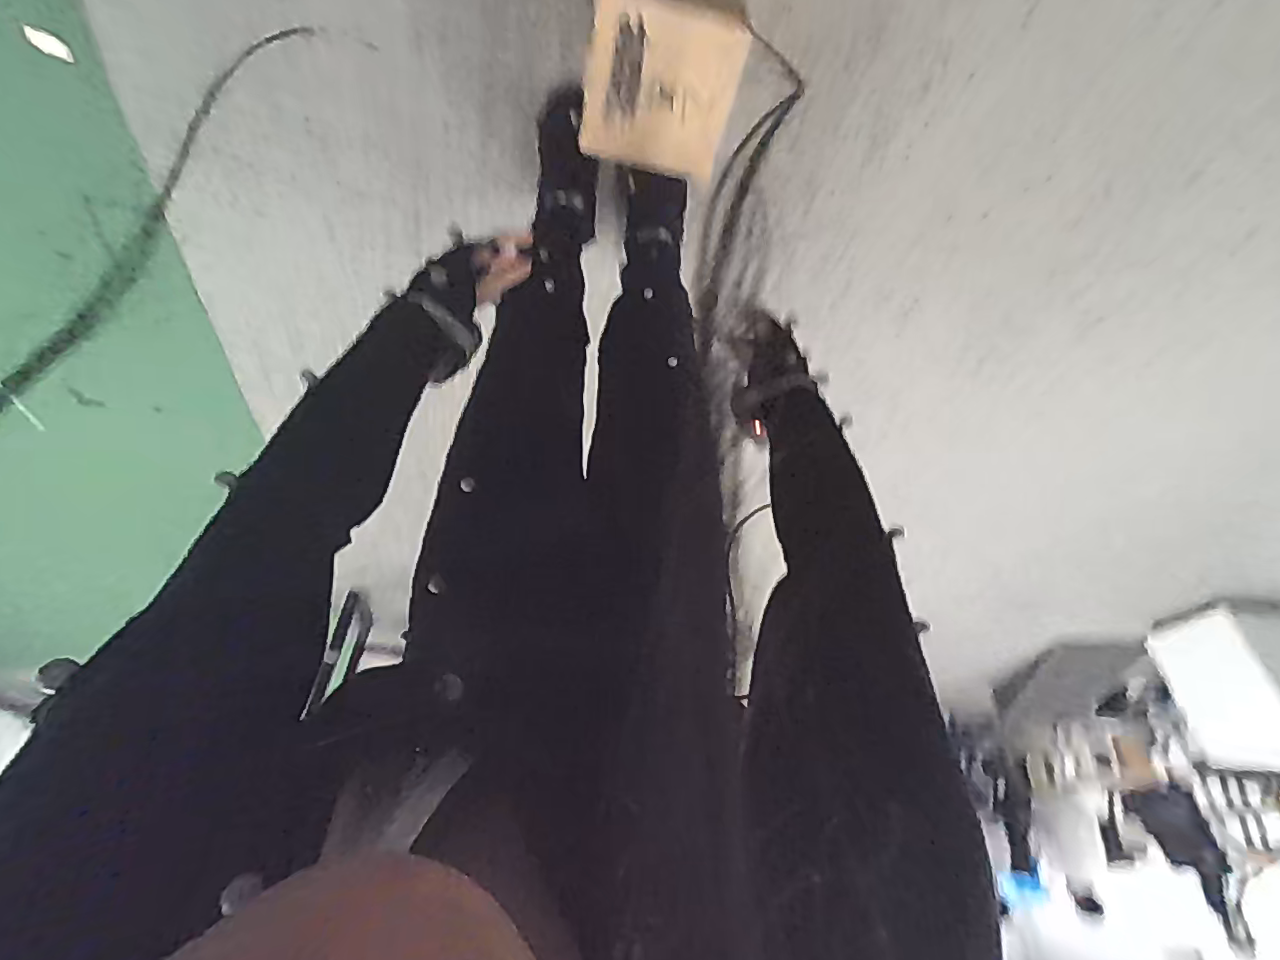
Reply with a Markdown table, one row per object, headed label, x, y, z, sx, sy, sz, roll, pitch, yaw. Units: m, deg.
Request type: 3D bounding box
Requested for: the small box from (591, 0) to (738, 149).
| label | x | y | z | sx | sy | sz | roll | pitch | yaw |
| --- | --- | --- | --- | --- | --- | --- | --- | --- | --- |
| small box | 0.029 | -0.633 | 0.806 | 0.179 | 0.176 | 0.168 | 9 | 141 | -9 |
